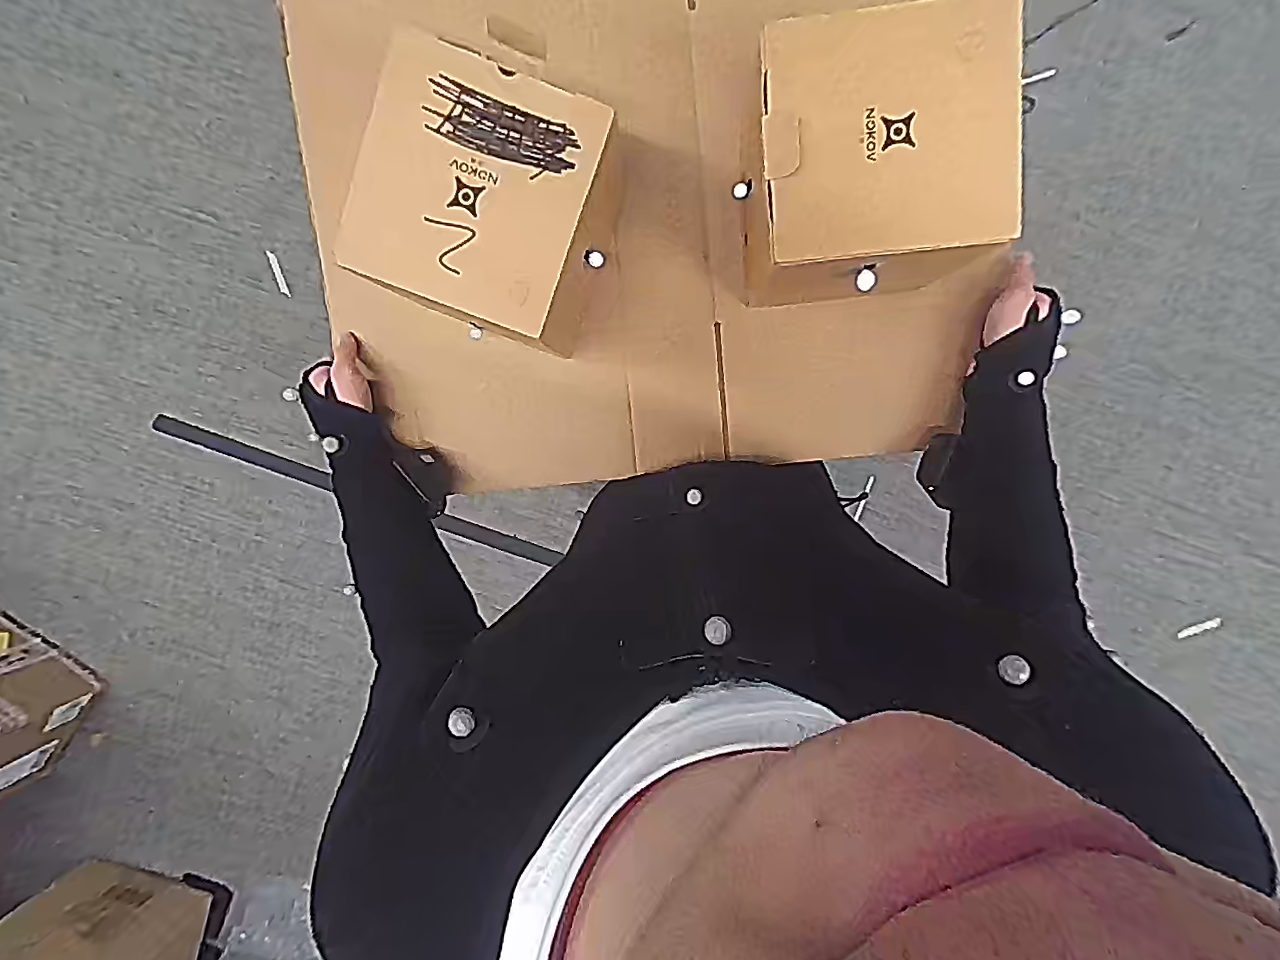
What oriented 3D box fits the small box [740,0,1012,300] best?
[{"bbox_3d":[0.188,-0.263,0.476,0.179,0.176,0.168,-4,97,6],"label":"small box"}]
